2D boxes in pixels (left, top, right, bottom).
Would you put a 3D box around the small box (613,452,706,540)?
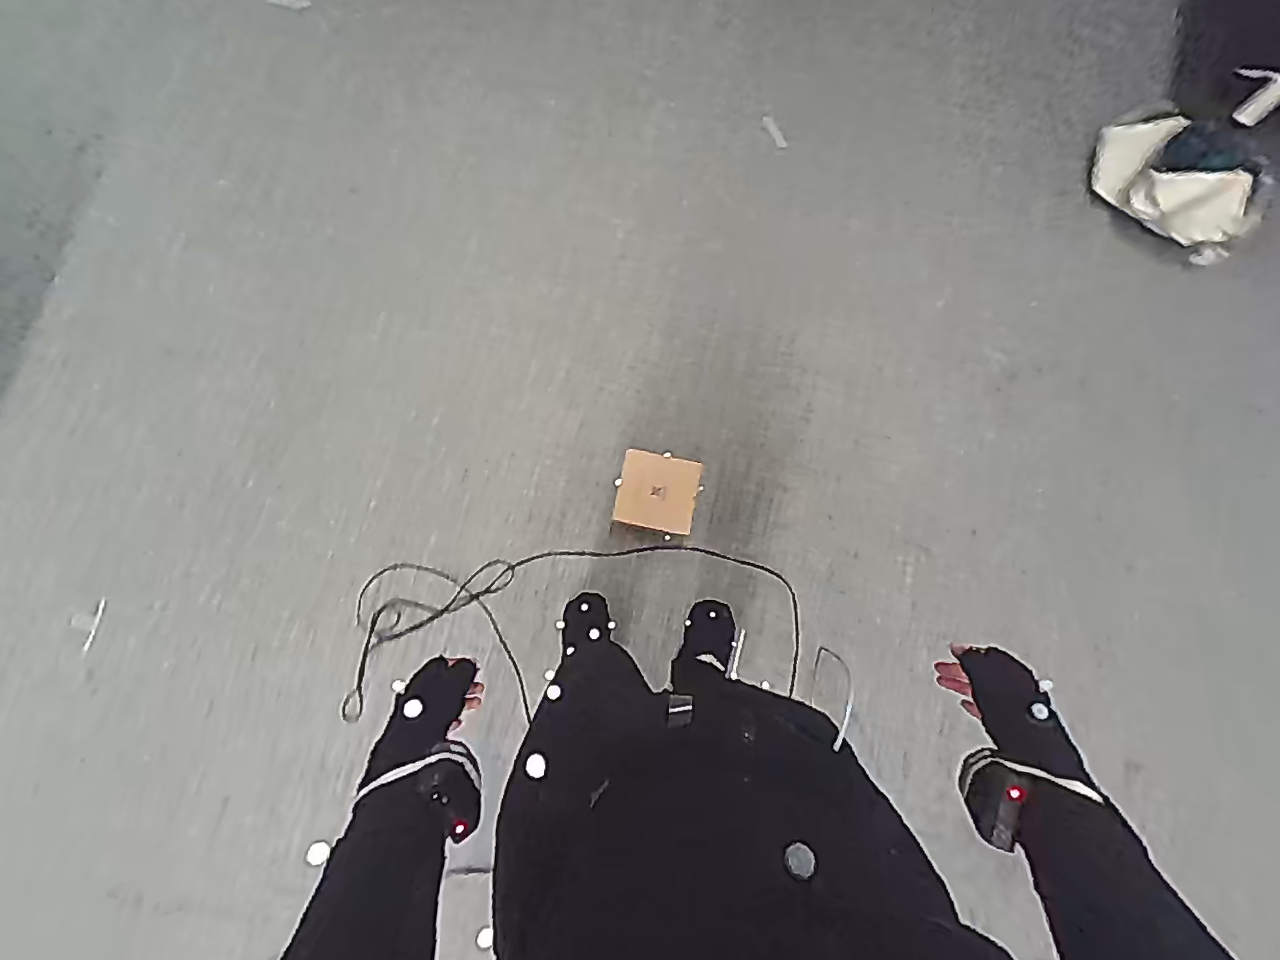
[{"bbox_3d":[0.044,0.043,1.267,0.179,0.176,0.168,12,82,2],"label":"small box"}]
